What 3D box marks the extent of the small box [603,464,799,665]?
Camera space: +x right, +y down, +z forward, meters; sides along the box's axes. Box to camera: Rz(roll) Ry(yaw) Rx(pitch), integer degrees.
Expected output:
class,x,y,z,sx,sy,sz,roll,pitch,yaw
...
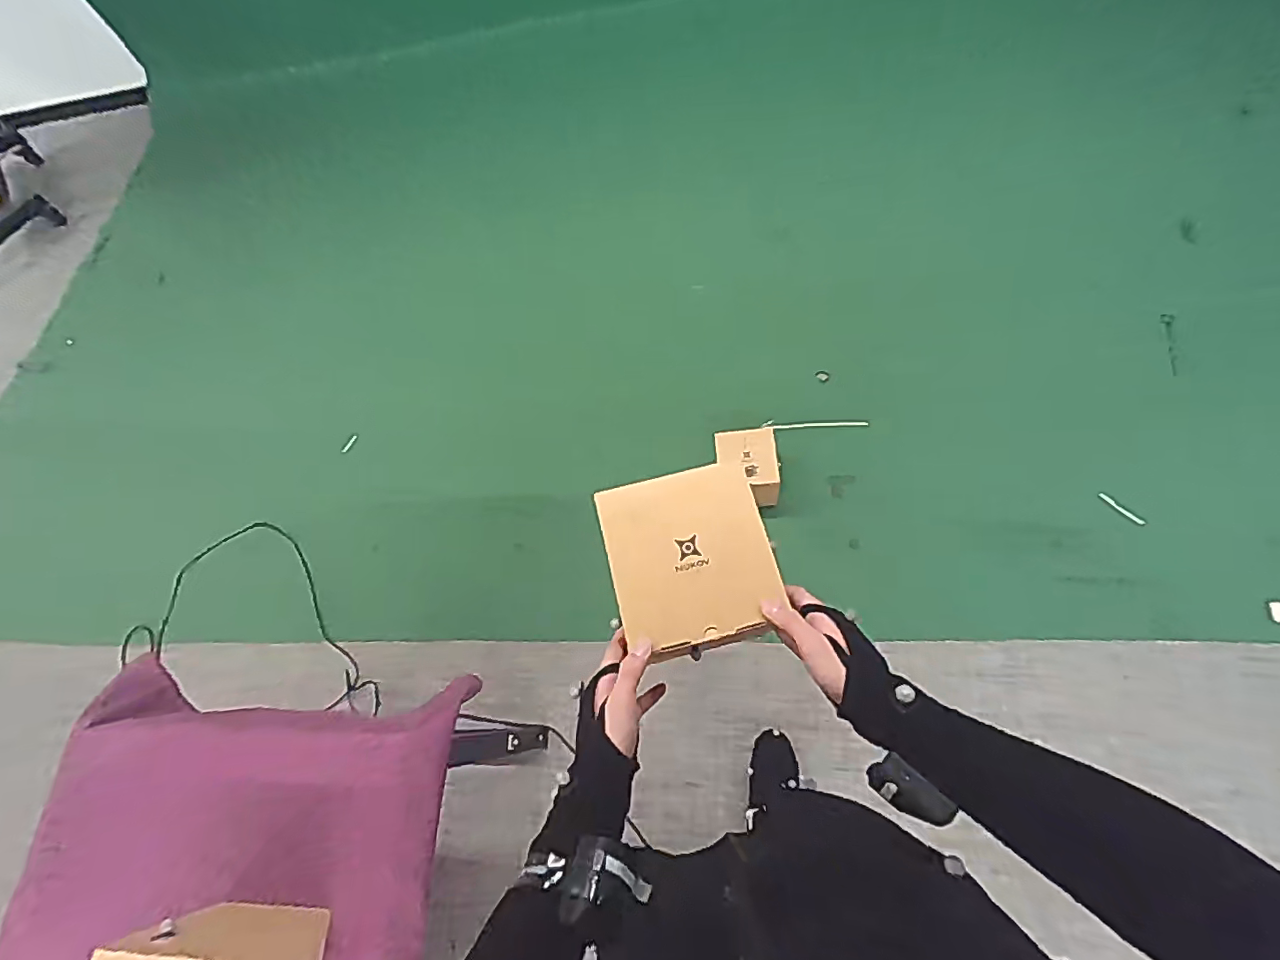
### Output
class,x,y,z,sx,sy,sz,roll,pitch,yaw
small box,0.059,0.106,0.624,0.168,0.176,0.179,-14,70,-3

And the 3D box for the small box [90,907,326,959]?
class,x,y,z,sx,sy,sz,roll,pitch,yaw
small box,-0.518,0.630,0.634,0.179,0.176,0.168,-4,67,9

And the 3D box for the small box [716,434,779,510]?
class,x,y,z,sx,sy,sz,roll,pitch,yaw
small box,0.312,-0.013,1.576,0.168,0.176,0.179,-5,65,8
